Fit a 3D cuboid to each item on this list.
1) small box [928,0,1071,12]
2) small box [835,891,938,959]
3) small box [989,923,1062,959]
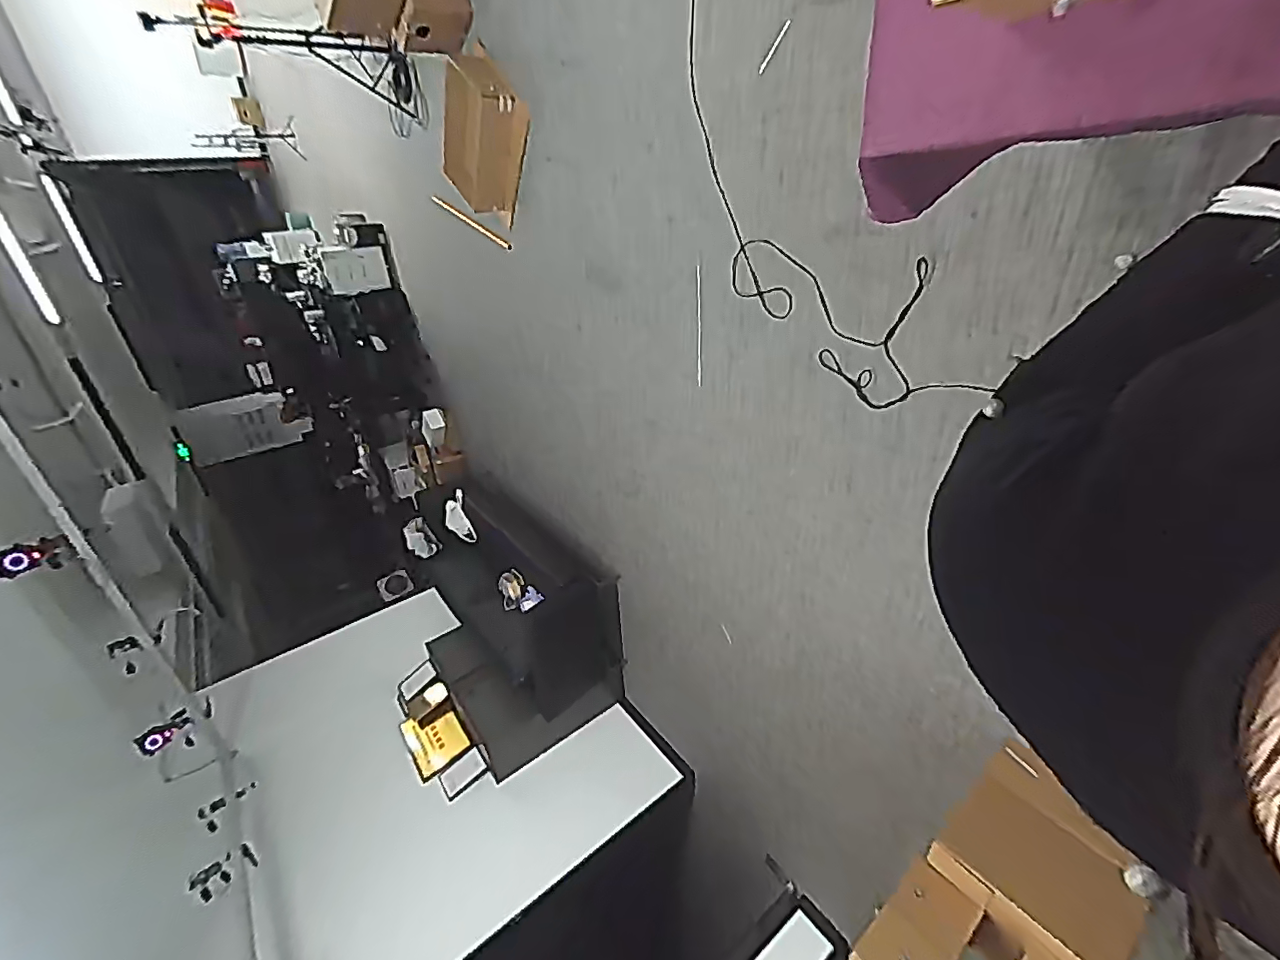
[{"bbox_3d":[0.381,-0.525,0.457,0.168,0.176,0.179,30,134,43],"label":"small box"},{"bbox_3d":[0.645,1.235,1.422,0.179,0.176,0.168,29,134,42],"label":"small box"},{"bbox_3d":[0.934,1.226,1.295,0.168,0.176,0.179,33,136,44],"label":"small box"}]
